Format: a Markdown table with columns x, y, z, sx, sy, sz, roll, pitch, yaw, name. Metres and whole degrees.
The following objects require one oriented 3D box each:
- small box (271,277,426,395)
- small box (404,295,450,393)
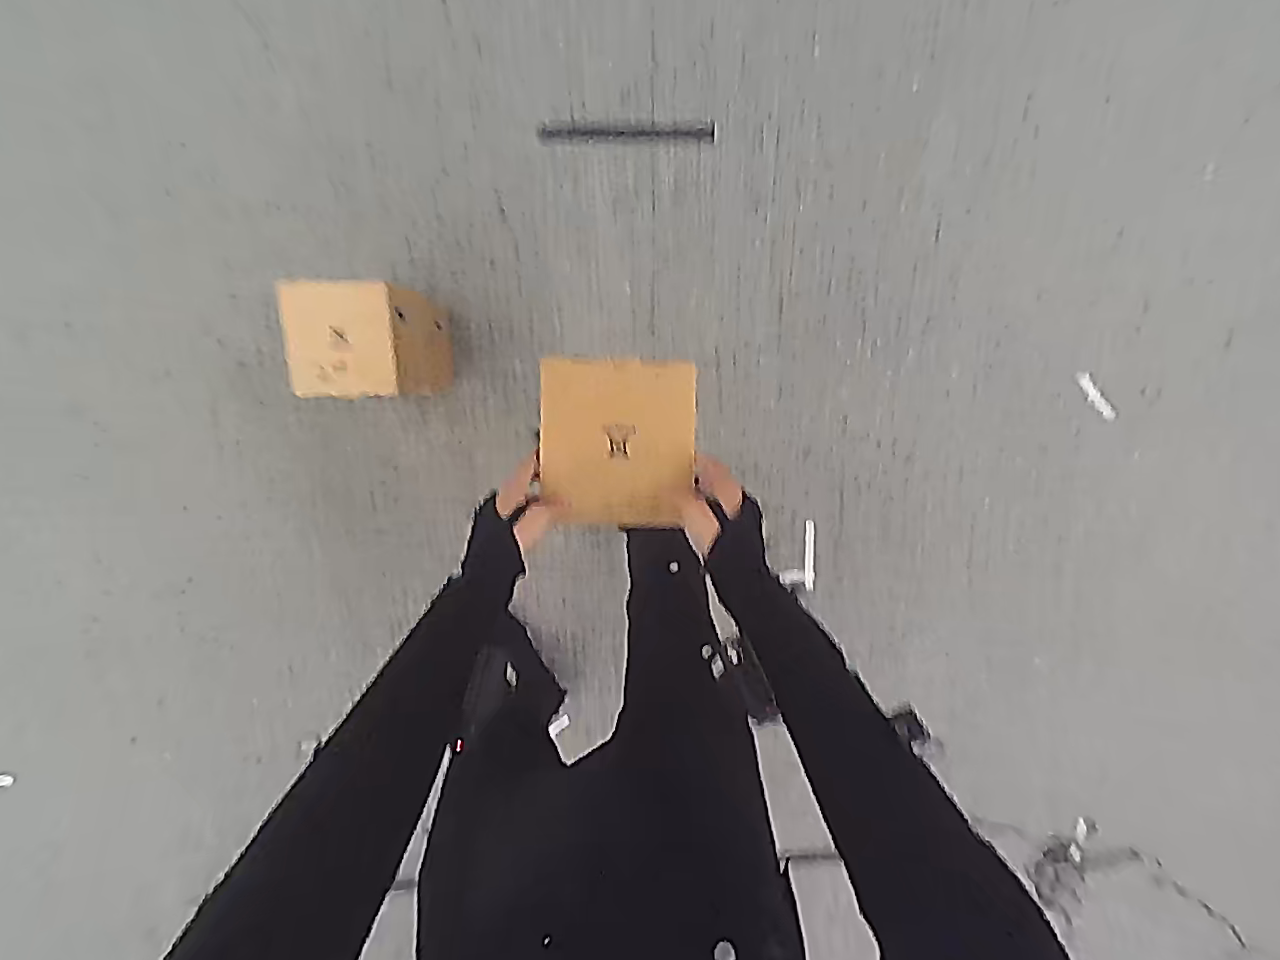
| x | y | z | sx | sy | sz | roll | pitch | yaw | name |
| --- | --- | --- | --- | --- | --- | --- | --- | --- | --- |
| -0.471 | -0.235 | 0.901 | 0.168 | 0.176 | 0.179 | -1 | 104 | -3 | small box |
| -0.483 | -0.263 | 1.062 | 0.168 | 0.176 | 0.179 | -1 | 103 | -3 | small box |
